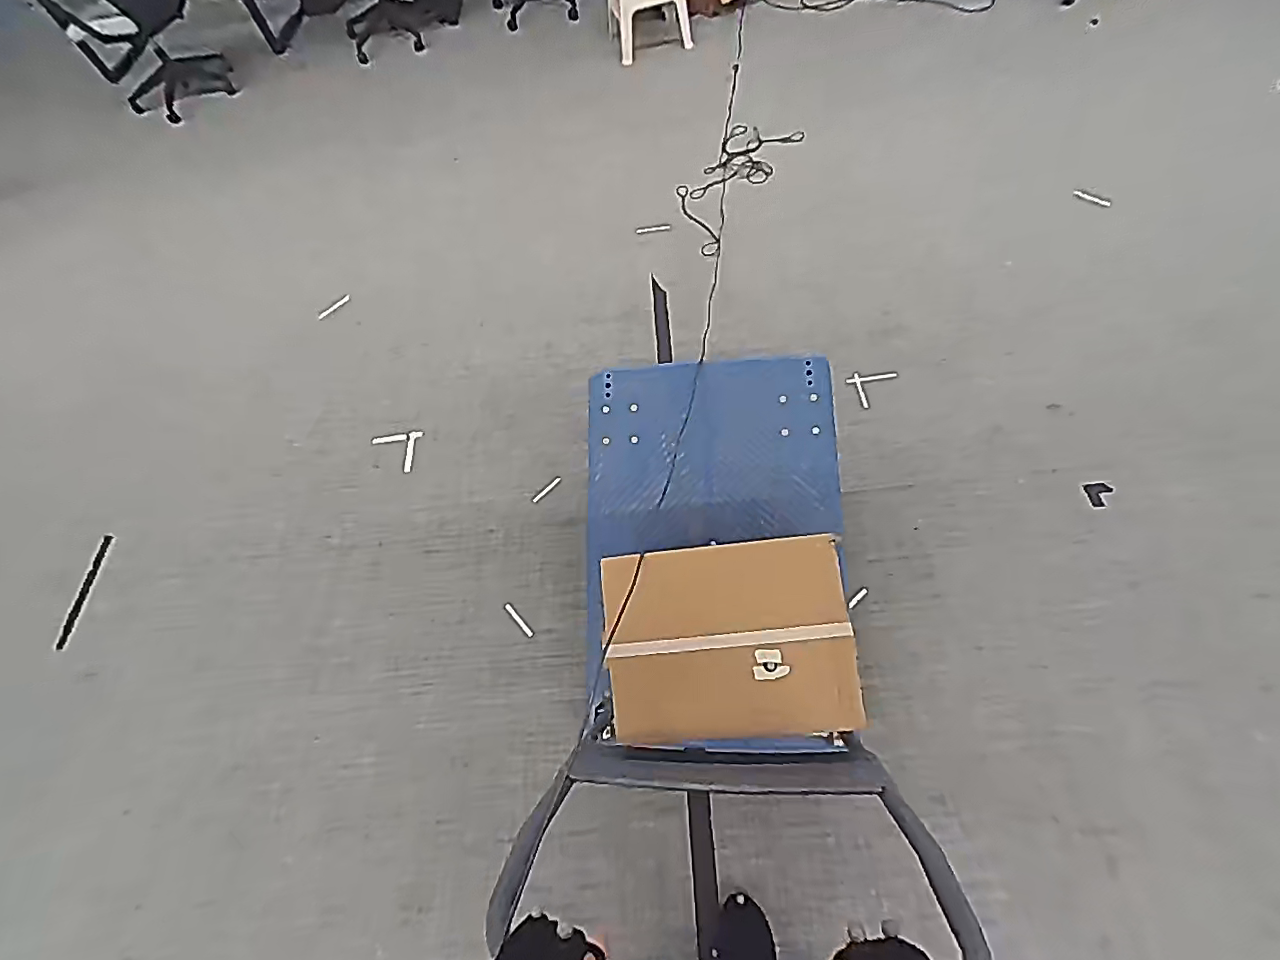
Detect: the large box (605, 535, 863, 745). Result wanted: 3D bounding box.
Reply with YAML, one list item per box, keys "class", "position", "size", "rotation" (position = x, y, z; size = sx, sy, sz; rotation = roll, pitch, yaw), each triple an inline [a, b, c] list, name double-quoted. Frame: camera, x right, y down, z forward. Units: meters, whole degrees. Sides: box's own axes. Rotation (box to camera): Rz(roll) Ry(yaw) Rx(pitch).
- class: "large box"
  position: [0.166, 0.297, 1.064]
  size: [0.408, 0.320, 0.320]
  rotation: [-8, 80, 6]
